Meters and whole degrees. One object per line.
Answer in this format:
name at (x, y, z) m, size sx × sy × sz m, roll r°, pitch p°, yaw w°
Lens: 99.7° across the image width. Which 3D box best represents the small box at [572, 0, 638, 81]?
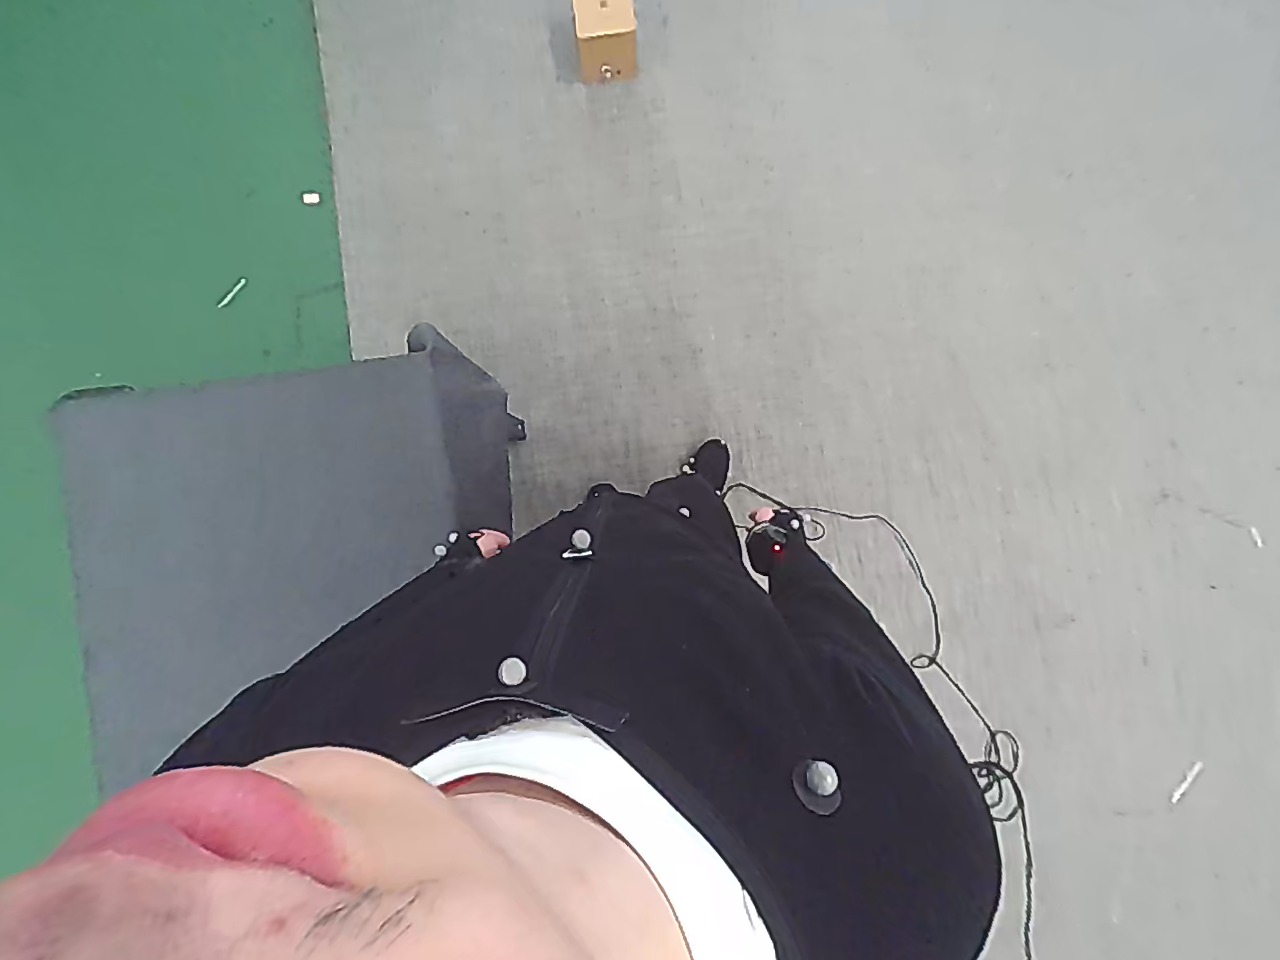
small box at (-0.097, -1.278, 1.526) m, size 0.168 × 0.176 × 0.179 m, roll -5°, pitch 88°, yaw 3°
